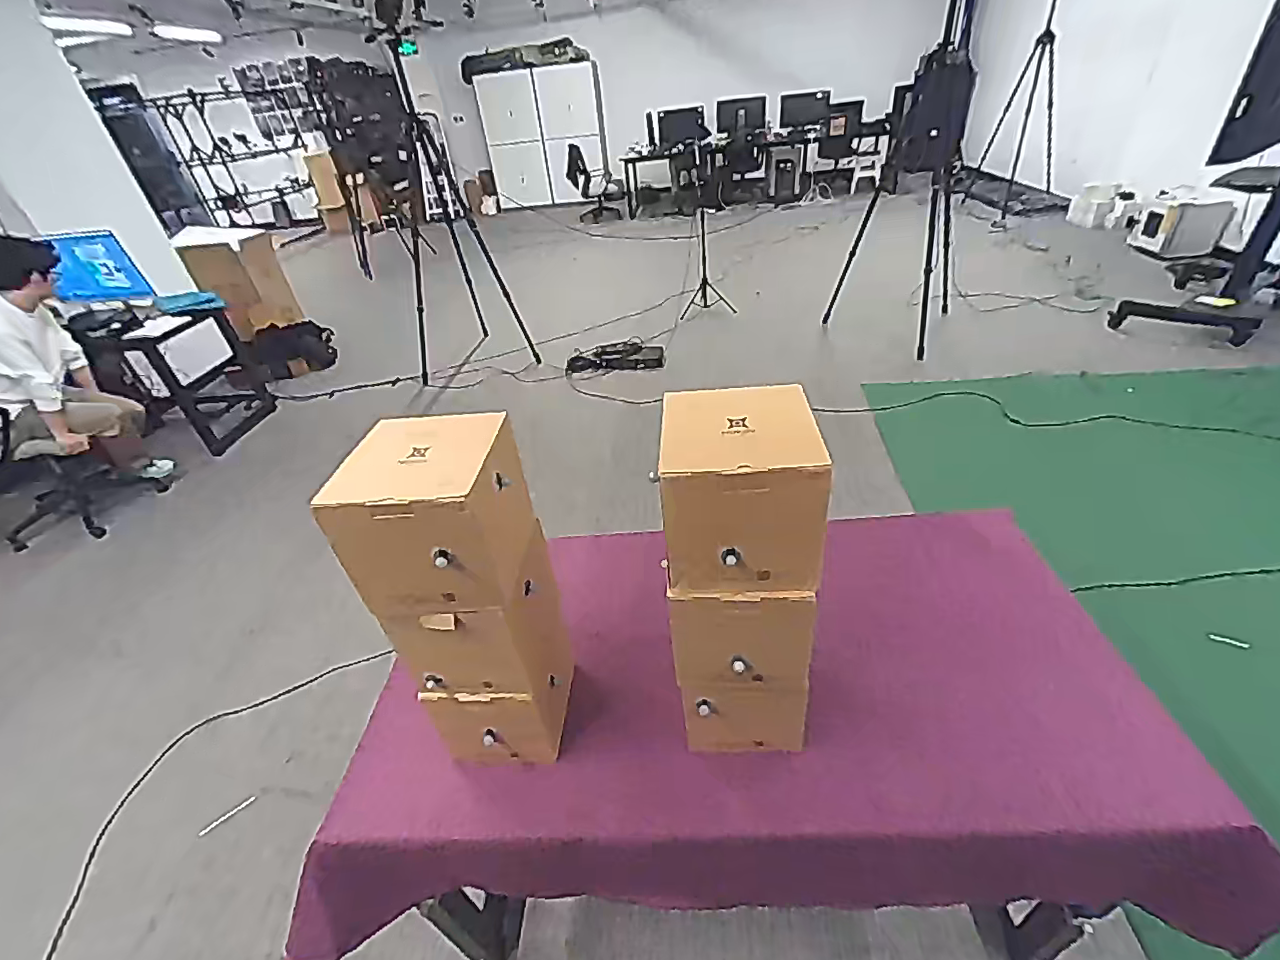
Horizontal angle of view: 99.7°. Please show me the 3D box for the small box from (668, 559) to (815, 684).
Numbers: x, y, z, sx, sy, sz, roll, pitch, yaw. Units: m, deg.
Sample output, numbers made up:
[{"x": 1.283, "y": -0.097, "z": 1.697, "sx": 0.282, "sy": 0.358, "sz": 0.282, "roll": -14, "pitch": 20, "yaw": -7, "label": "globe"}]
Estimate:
[{"x": 0.128, "y": 0.141, "z": 0.714, "sx": 0.168, "sy": 0.176, "sz": 0.179, "roll": -1, "pitch": 37, "yaw": 9, "label": "small box"}]

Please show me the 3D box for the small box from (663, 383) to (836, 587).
[{"x": 0.115, "y": 0.004, "z": 0.626, "sx": 0.168, "sy": 0.176, "sz": 0.179, "roll": -2, "pitch": 37, "yaw": 6, "label": "small box"}]

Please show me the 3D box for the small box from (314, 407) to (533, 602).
[{"x": -0.235, "y": 0.031, "z": 0.646, "sx": 0.168, "sy": 0.176, "sz": 0.179, "roll": -2, "pitch": 36, "yaw": 5, "label": "small box"}]

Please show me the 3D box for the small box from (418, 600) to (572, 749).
[{"x": -0.209, "y": 0.295, "z": 0.838, "sx": 0.168, "sy": 0.176, "sz": 0.179, "roll": -1, "pitch": 38, "yaw": 6, "label": "small box"}]

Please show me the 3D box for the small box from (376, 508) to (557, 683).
[{"x": -0.220, "y": 0.159, "z": 0.746, "sx": 0.168, "sy": 0.176, "sz": 0.179, "roll": -1, "pitch": 36, "yaw": 7, "label": "small box"}]
